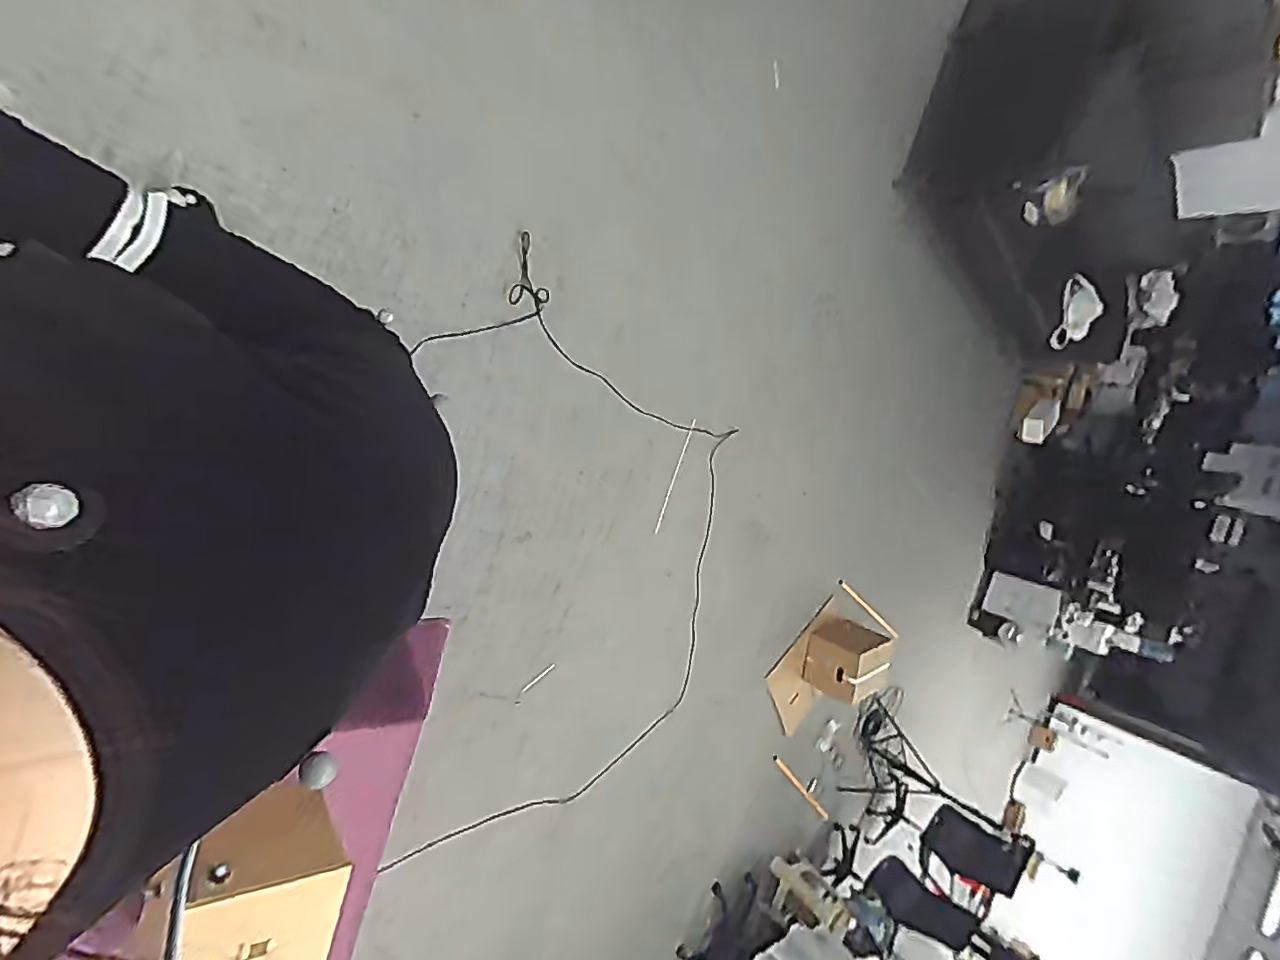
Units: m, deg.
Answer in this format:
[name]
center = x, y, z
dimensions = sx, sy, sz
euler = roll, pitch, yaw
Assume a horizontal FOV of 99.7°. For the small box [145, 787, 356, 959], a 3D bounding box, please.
[small box]
center = -0.487, 0.520, 0.676
dimensions = 0.179, 0.176, 0.168
euler = 14, 94, -41
